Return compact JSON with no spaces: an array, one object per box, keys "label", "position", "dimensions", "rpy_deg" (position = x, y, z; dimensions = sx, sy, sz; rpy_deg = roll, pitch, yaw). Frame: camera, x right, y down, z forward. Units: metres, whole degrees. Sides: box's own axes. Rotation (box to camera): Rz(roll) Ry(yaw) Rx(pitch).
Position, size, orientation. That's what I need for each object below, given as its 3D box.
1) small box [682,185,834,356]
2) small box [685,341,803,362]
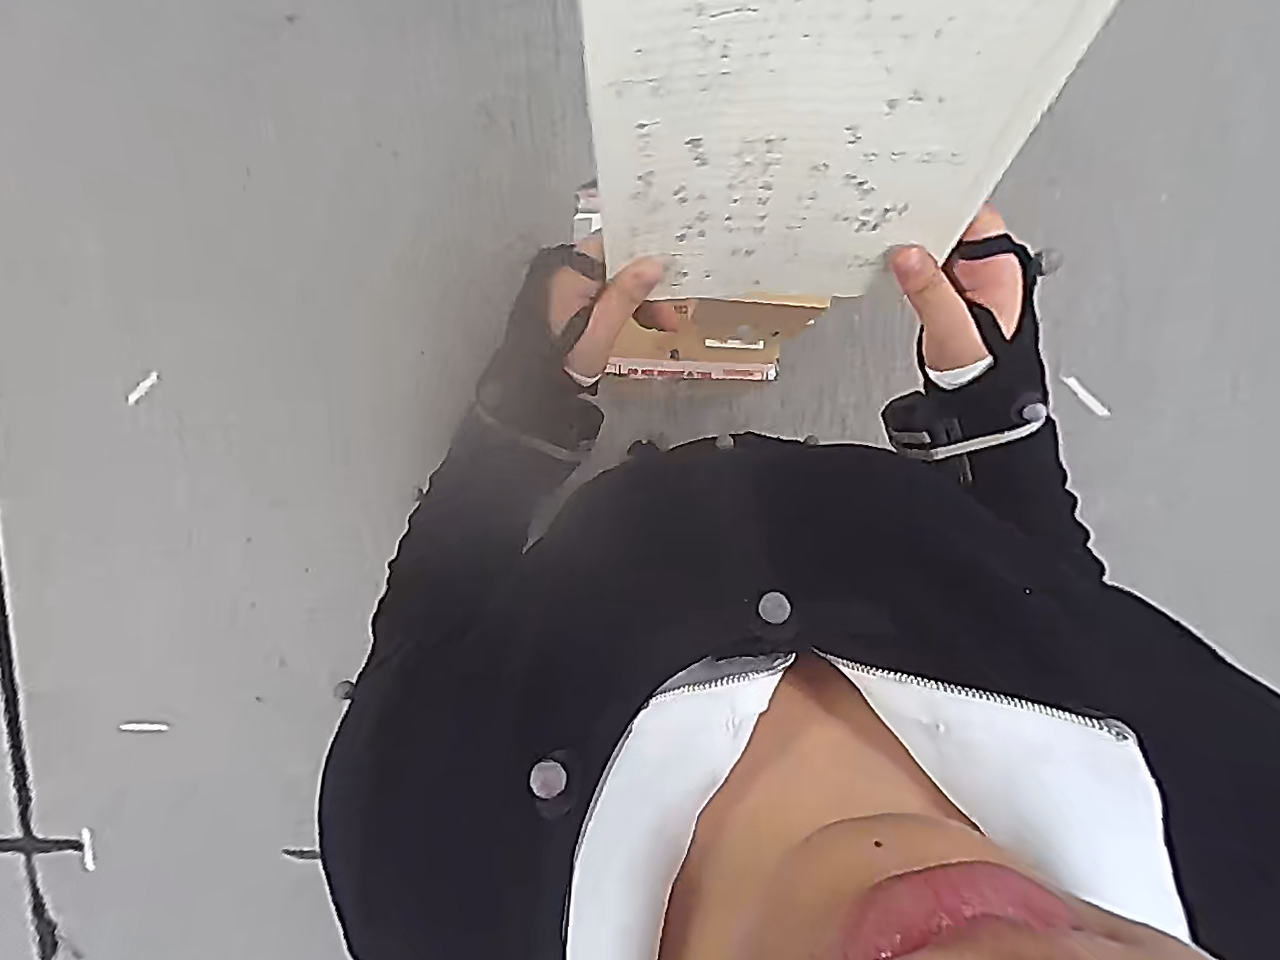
[{"label":"small box","position":[0.151,-0.278,0.754],"dimensions":[0.168,0.176,0.179],"rpy_deg":[5,96,0]},{"label":"small box","position":[0.172,-0.295,0.918],"dimensions":[0.179,0.176,0.168],"rpy_deg":[1,95,1]}]
